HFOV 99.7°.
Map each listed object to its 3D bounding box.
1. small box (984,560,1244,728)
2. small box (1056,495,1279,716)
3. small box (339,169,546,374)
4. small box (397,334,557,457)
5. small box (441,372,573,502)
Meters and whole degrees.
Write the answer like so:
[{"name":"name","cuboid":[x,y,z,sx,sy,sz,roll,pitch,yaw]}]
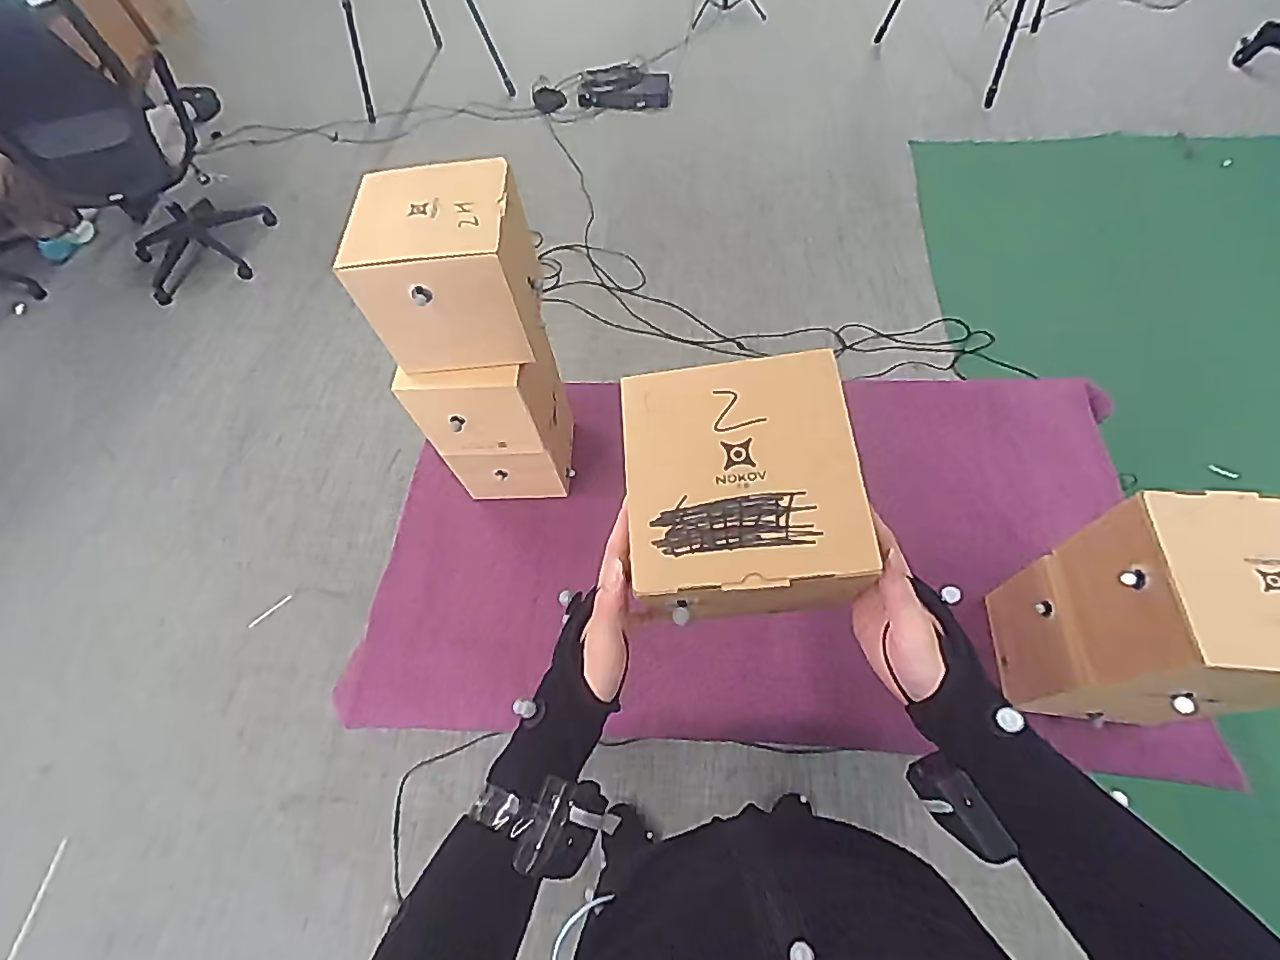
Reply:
[{"name":"small box","cuboid":[0.592,0.220,0.706,0.179,0.176,0.168,5,60,8]},{"name":"small box","cuboid":[0.581,0.135,0.566,0.168,0.176,0.179,3,61,9]},{"name":"small box","cuboid":[-0.224,-0.247,0.665,0.179,0.176,0.168,-4,61,2]},{"name":"small box","cuboid":[-0.224,-0.144,0.796,0.168,0.176,0.179,-1,60,4]},{"name":"small box","cuboid":[-0.217,-0.070,0.940,0.179,0.176,0.168,-2,61,4]}]
